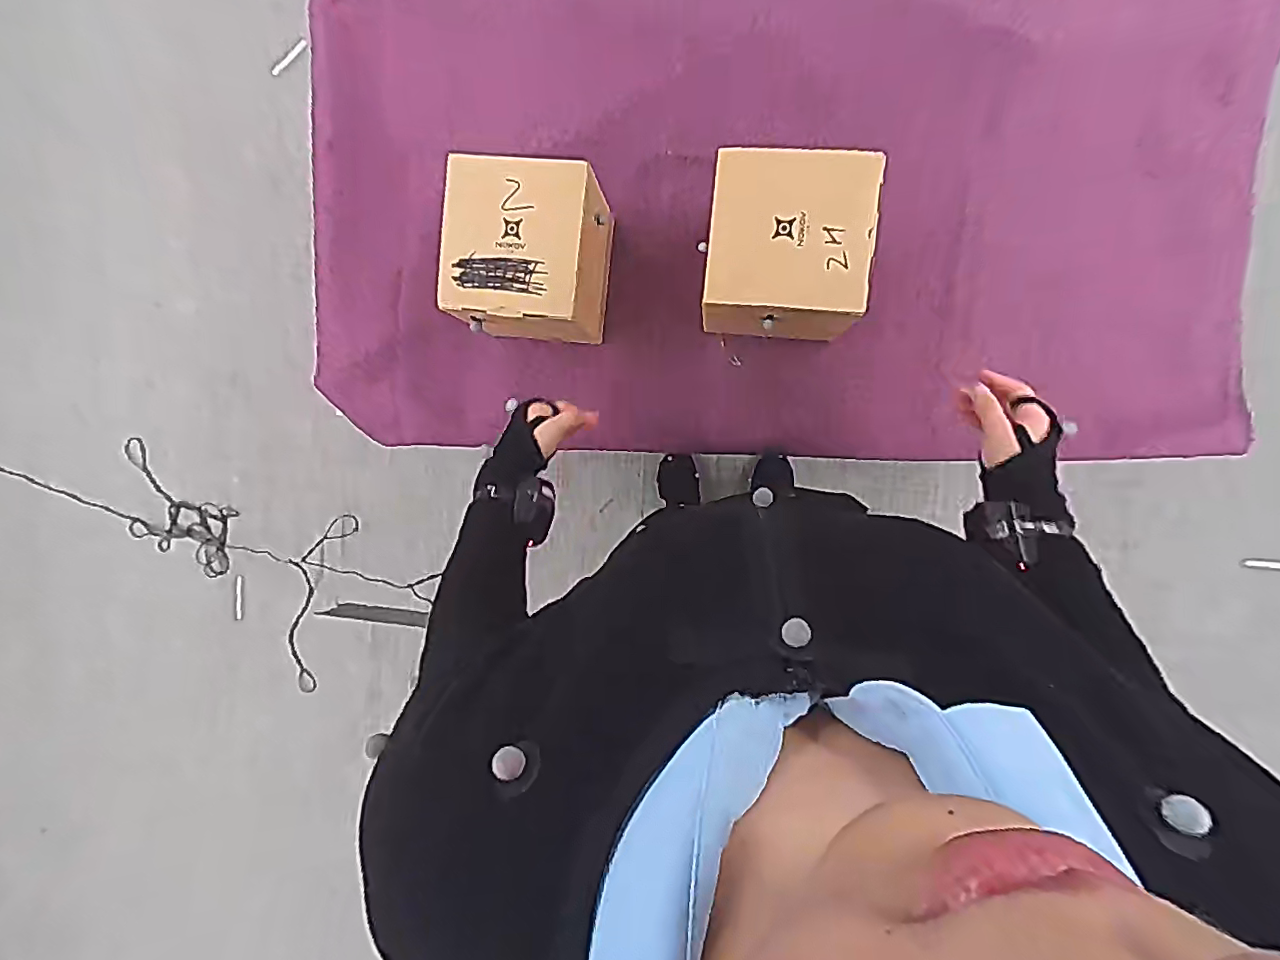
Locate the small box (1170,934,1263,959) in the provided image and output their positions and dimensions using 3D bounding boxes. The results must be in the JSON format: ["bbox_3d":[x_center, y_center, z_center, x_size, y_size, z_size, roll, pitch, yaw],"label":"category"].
[{"bbox_3d":[1.478,1.285,1.349,0.179,0.176,0.168,-3,94,7],"label":"small box"}]

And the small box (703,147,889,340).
[{"bbox_3d":[0.174,-0.271,0.653,0.179,0.176,0.168,7,95,7],"label":"small box"}]
